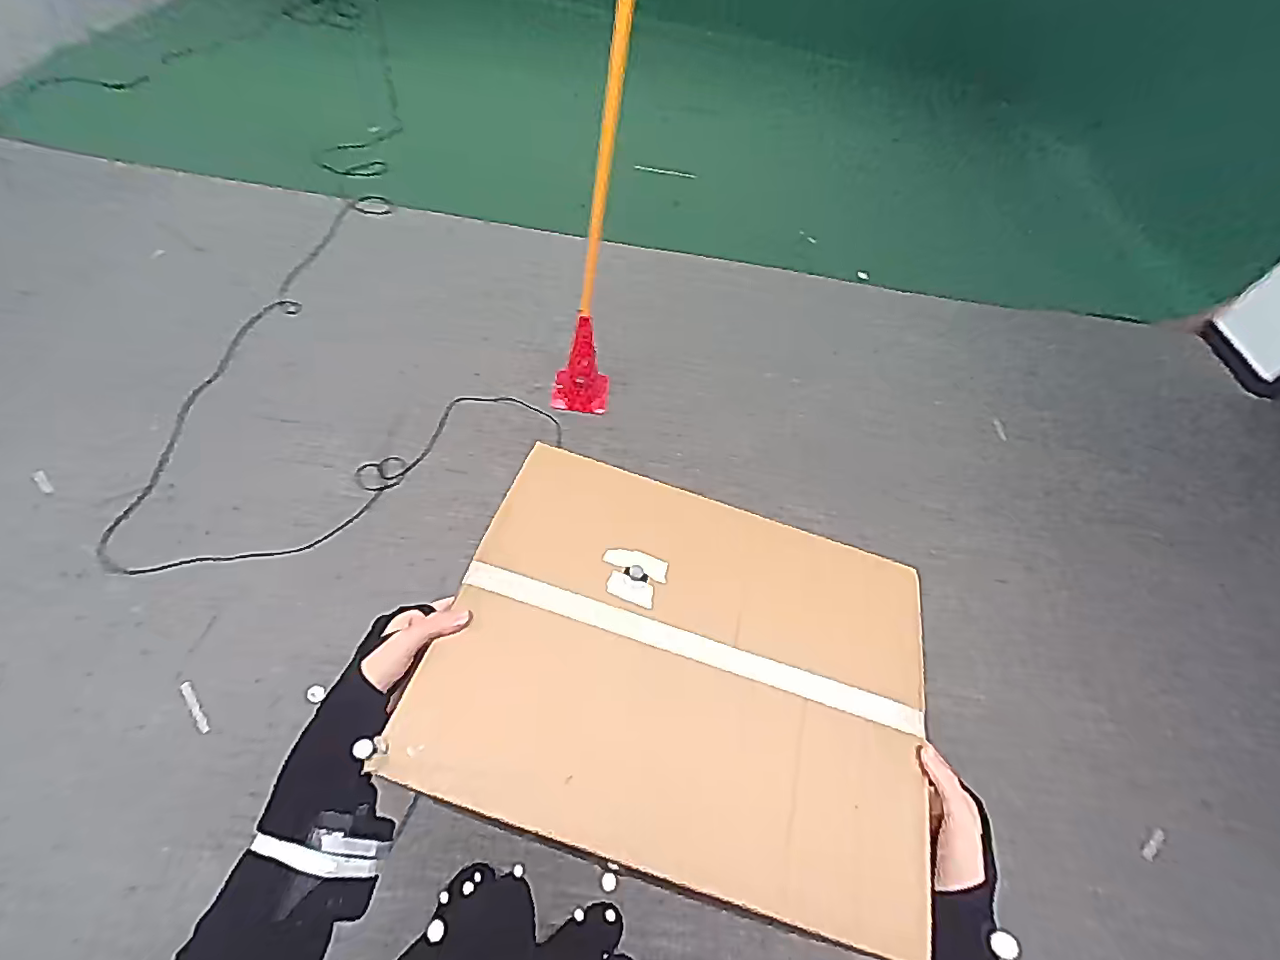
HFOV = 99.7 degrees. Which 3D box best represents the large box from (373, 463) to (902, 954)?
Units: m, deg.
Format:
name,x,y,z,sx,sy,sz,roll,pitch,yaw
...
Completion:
name,x,y,z,sx,sy,sz,roll,pitch,yaw
large box,0.014,0.239,0.591,0.408,0.320,0.320,18,54,2
